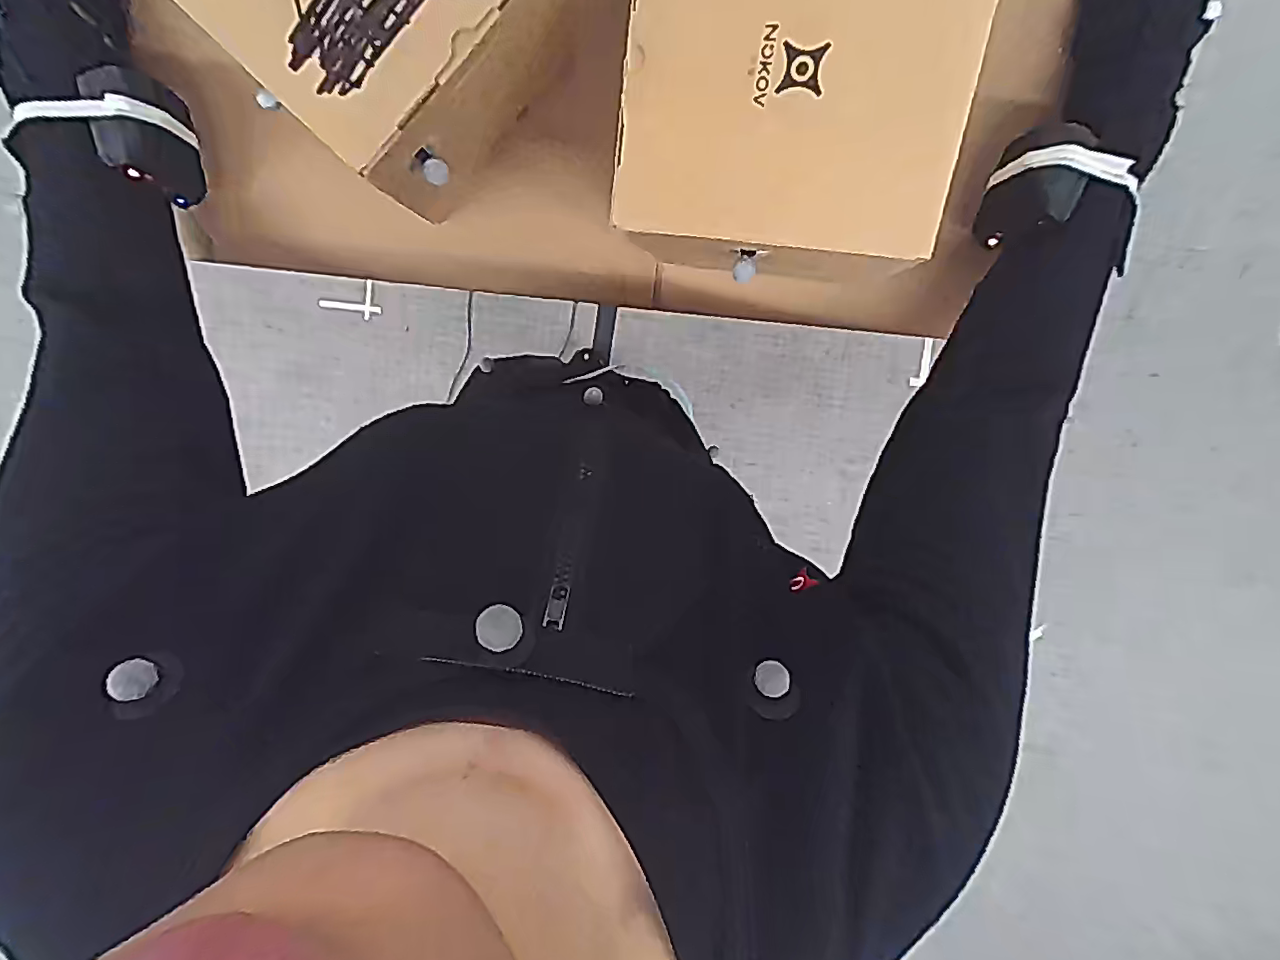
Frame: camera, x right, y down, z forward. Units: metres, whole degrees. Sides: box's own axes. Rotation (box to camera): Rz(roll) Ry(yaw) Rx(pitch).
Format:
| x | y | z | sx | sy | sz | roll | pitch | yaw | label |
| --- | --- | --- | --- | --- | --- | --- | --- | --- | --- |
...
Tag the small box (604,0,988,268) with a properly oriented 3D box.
| x | y | z | sx | sy | sz | roll | pitch | yaw | label |
| --- | --- | --- | --- | --- | --- | --- | --- | --- | --- |
| 0.091 | -0.237 | 0.347 | 0.179 | 0.176 | 0.168 | 12 | 108 | 10 | small box |
